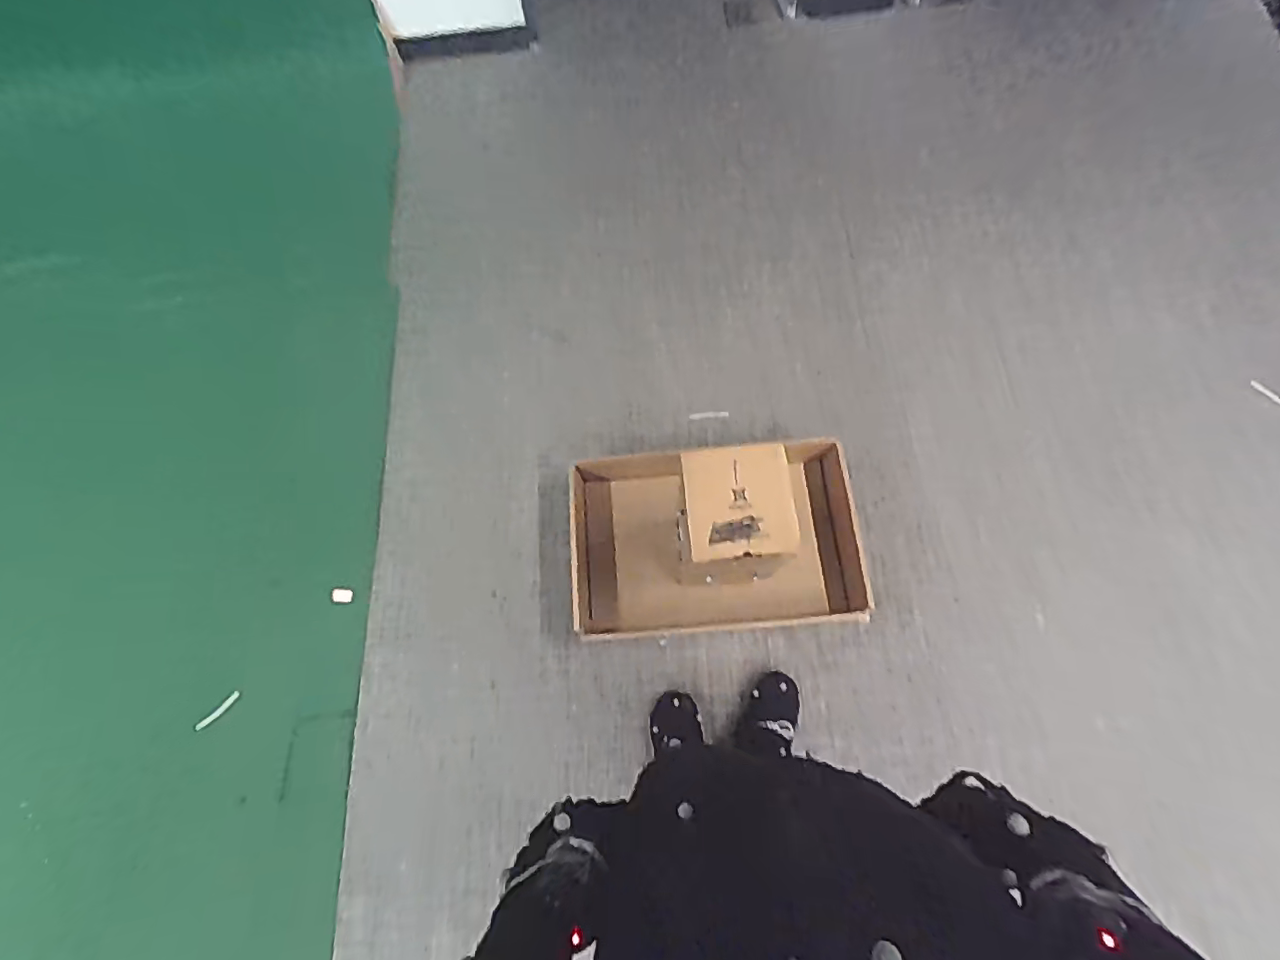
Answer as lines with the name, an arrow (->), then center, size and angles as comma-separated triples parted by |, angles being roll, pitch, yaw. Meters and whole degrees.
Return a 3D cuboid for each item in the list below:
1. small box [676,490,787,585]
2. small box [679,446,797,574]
small box -> 0.167, 0.105, 1.047 | 0.179, 0.176, 0.168 | -8, 72, 1
small box -> 0.154, 0.060, 0.907 | 0.168, 0.176, 0.179 | -5, 71, 2
